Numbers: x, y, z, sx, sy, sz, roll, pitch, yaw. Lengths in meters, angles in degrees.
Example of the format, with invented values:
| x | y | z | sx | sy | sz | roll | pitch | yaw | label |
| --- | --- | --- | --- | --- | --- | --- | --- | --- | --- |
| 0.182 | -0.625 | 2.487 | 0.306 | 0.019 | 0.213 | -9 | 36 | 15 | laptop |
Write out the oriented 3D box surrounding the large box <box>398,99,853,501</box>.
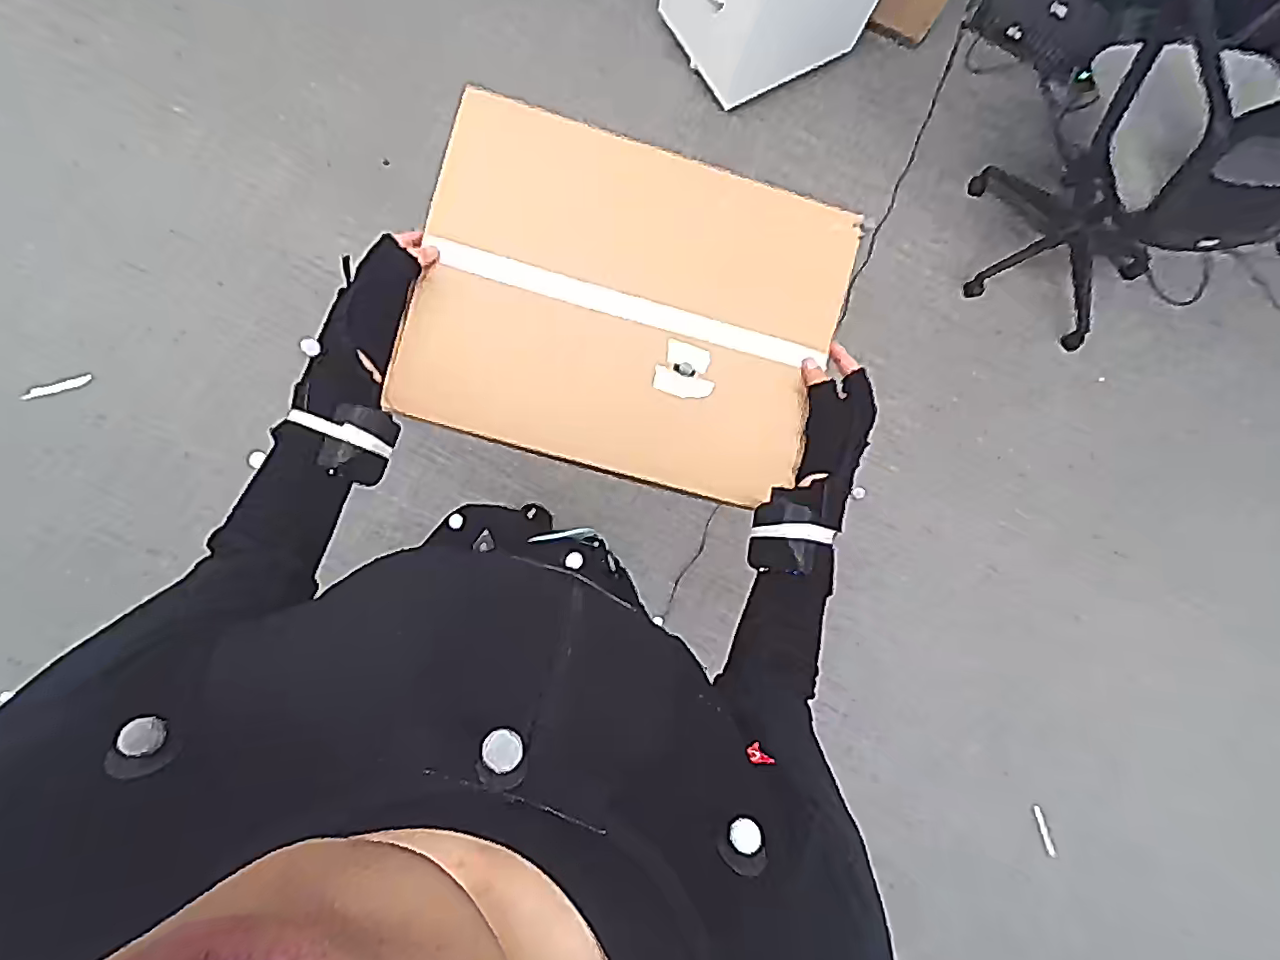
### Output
| x | y | z | sx | sy | sz | roll | pitch | yaw | label |
| --- | --- | --- | --- | --- | --- | --- | --- | --- | --- |
| -0.023 | -0.174 | 0.683 | 0.408 | 0.320 | 0.320 | 15 | 90 | -7 | large box |
